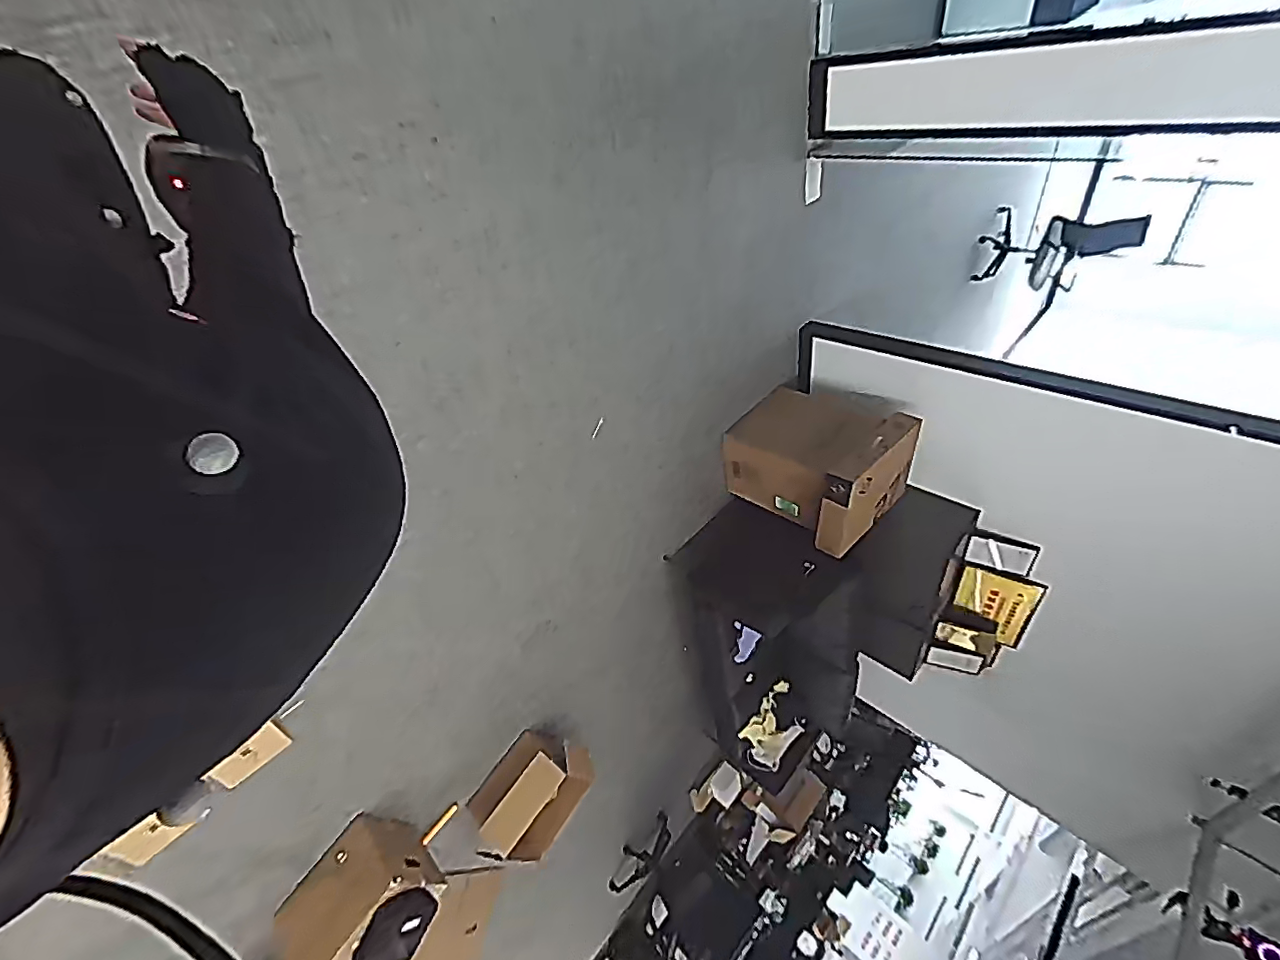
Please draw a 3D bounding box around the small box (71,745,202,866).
[{"bbox_3d":[-1.249,0.802,1.344,0.168,0.176,0.179,-40,138,-29],"label":"small box"}]
